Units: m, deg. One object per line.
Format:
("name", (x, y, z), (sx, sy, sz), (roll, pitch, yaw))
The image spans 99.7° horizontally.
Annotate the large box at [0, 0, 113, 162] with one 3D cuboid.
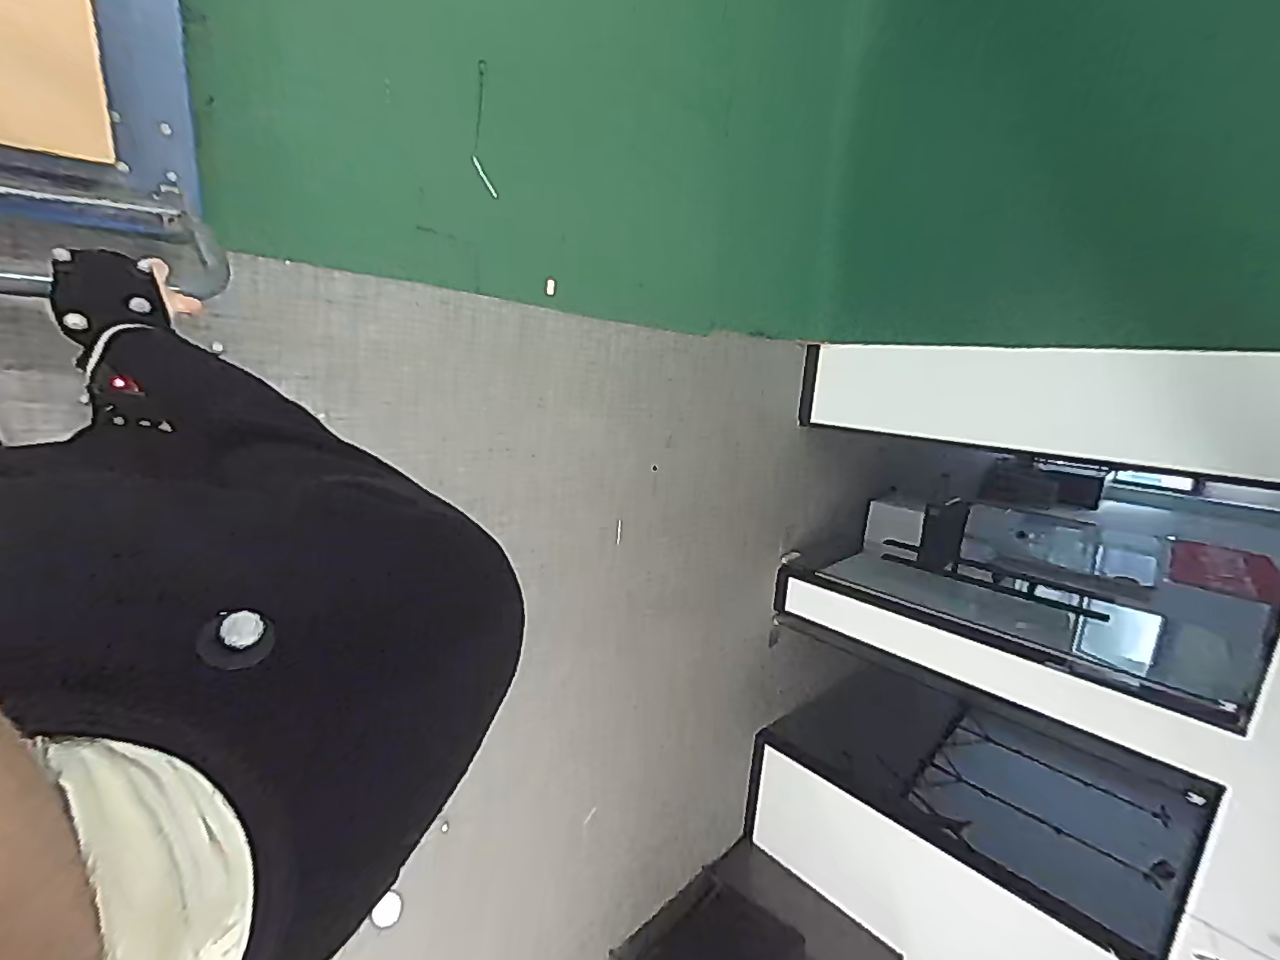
("large box", (-0.951, -0.686, 0.717), (0.320, 0.320, 0.408), (-9, 117, -41))
